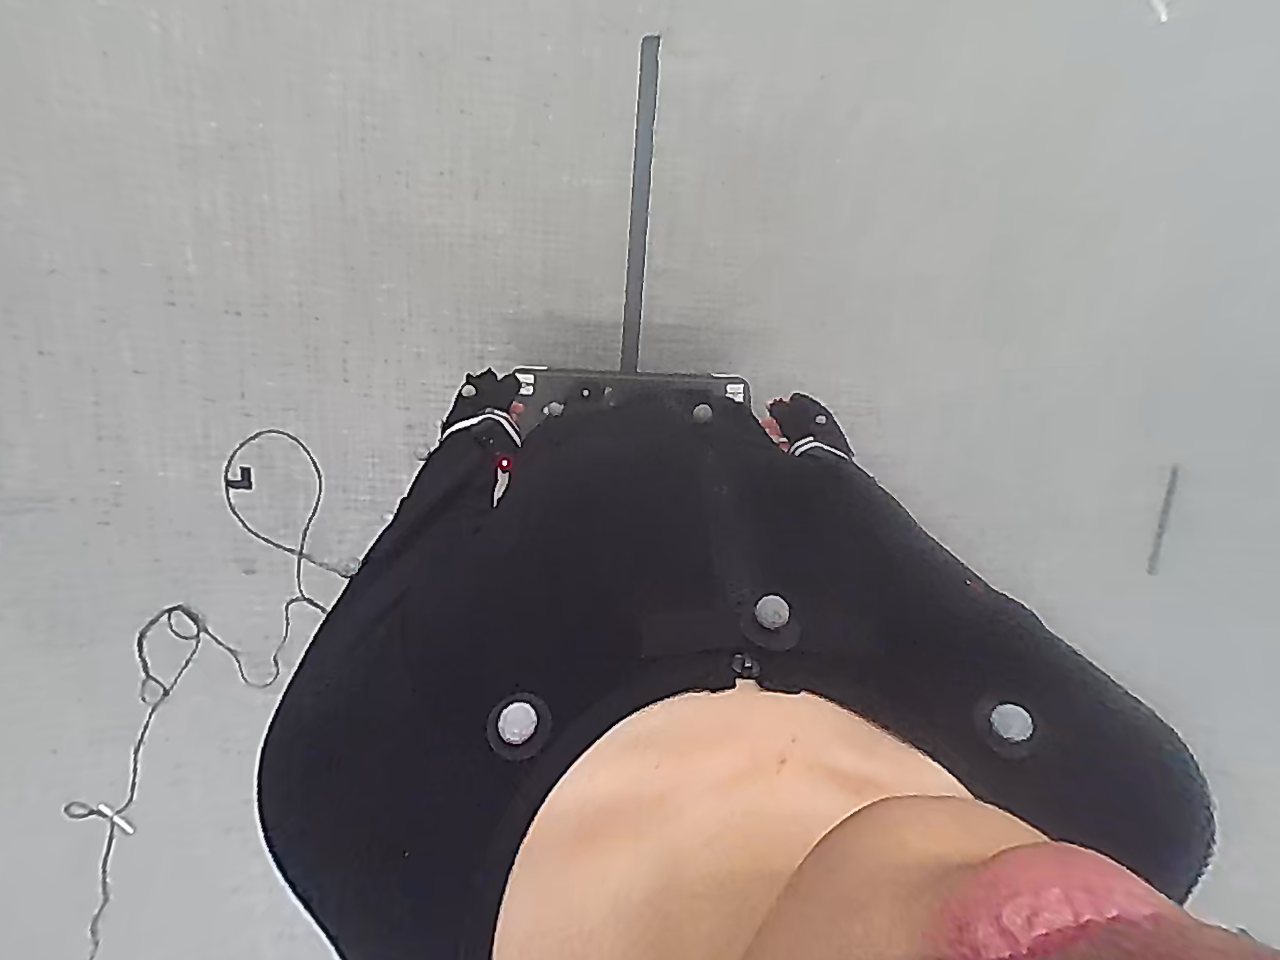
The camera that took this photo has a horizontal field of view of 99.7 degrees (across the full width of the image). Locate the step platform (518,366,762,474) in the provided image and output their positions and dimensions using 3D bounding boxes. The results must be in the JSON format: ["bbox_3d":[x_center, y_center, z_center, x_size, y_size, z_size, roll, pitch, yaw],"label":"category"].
[{"bbox_3d":[0.000,-0.173,1.548,0.684,0.204,0.286,0,102,-5],"label":"step platform"}]
